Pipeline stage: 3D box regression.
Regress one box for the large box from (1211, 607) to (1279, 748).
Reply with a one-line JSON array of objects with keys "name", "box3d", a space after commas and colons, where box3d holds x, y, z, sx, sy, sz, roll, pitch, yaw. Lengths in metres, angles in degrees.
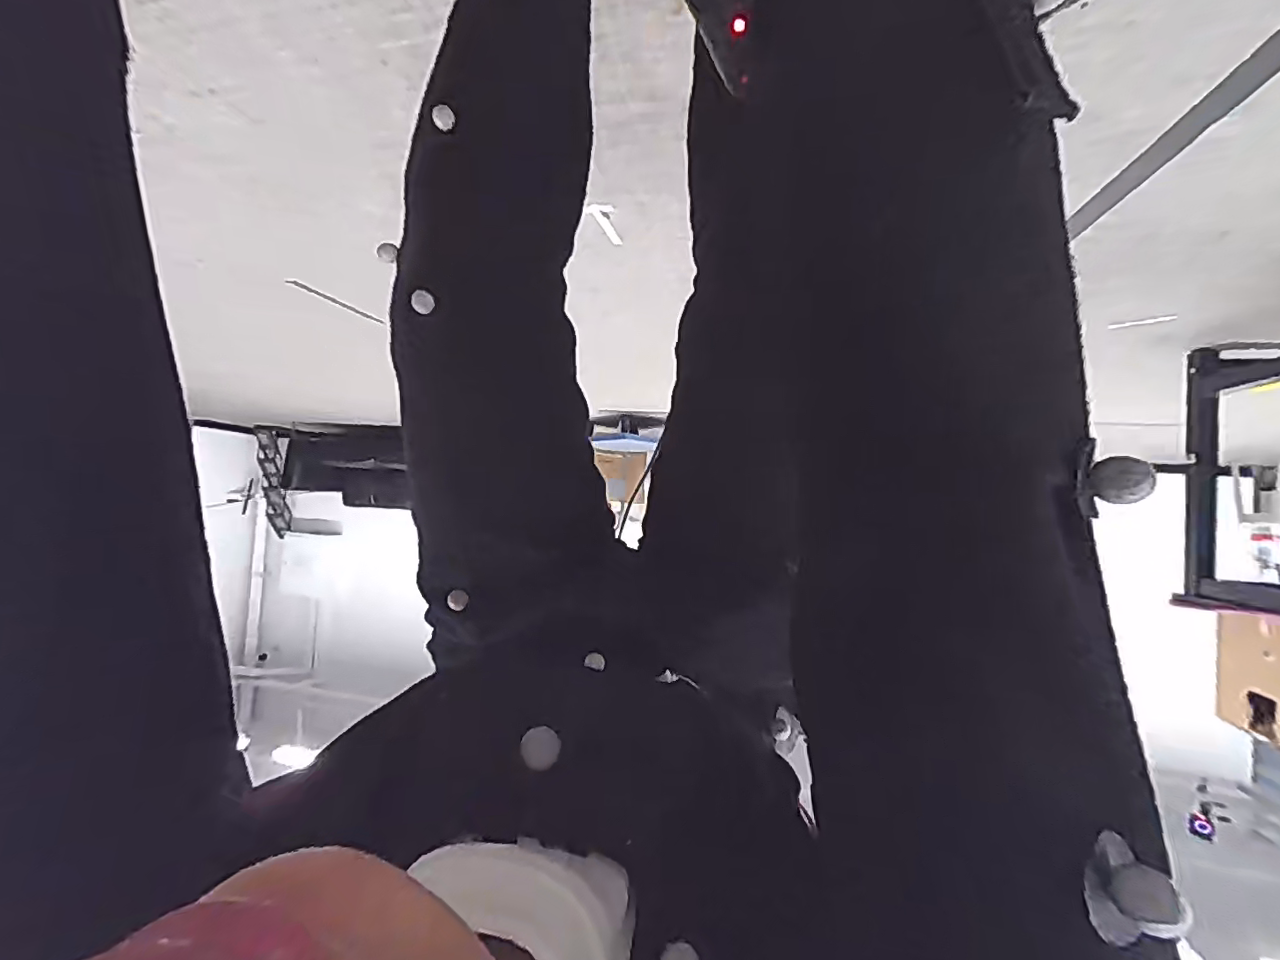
[{"name": "large box", "box3d": [1.751, 0.503, 1.318, 0.408, 0.320, 0.320, 2, 178, 14]}]
